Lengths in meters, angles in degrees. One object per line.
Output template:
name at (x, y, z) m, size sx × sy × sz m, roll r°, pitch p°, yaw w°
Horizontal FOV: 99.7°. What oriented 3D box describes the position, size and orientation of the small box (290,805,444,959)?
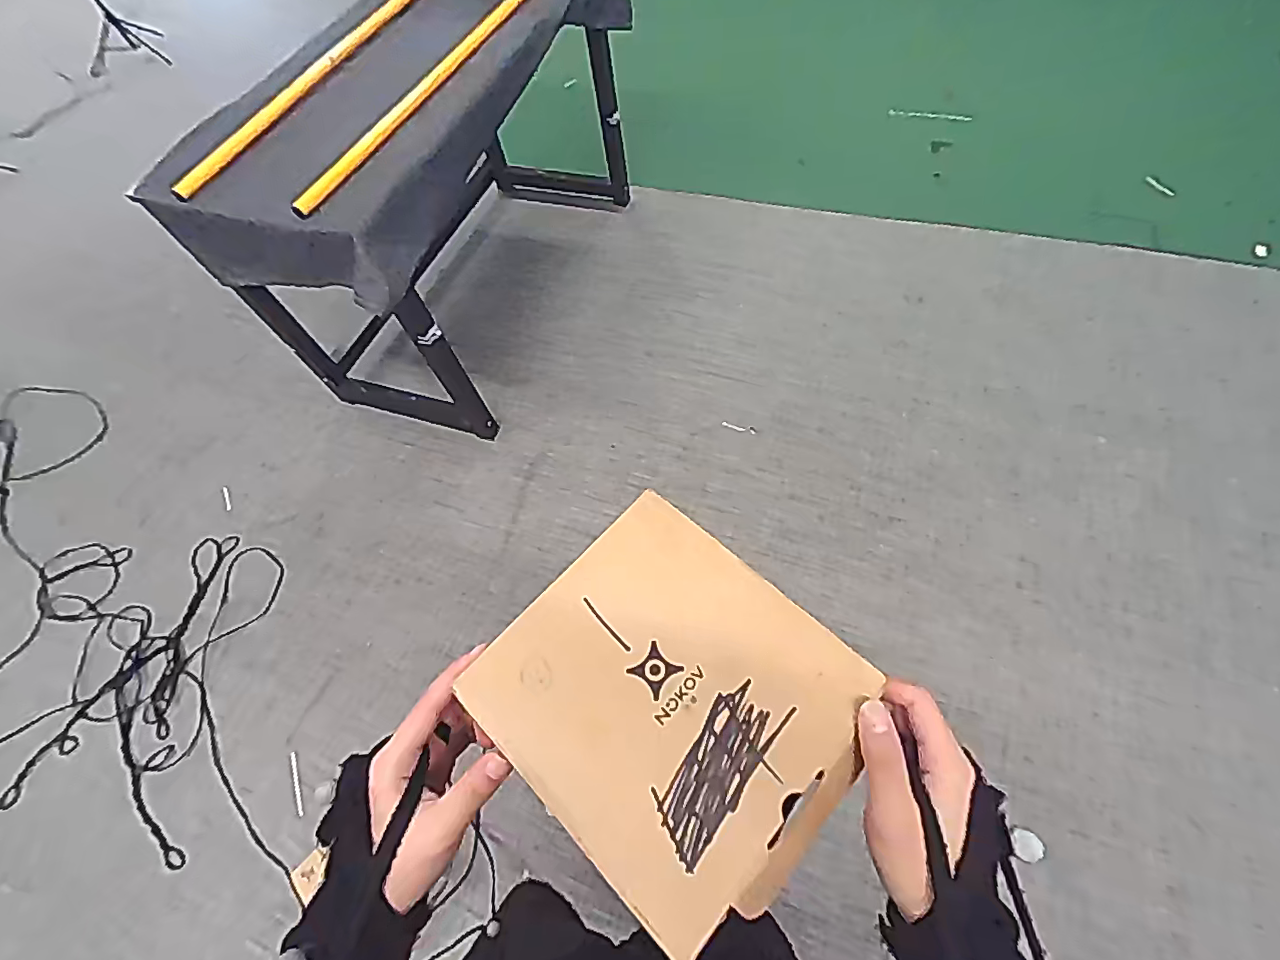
small box at (-0.519, 0.763, 1.052) m, size 0.179 × 0.176 × 0.168 m, roll 37°, pitch 72°, yaw 24°
